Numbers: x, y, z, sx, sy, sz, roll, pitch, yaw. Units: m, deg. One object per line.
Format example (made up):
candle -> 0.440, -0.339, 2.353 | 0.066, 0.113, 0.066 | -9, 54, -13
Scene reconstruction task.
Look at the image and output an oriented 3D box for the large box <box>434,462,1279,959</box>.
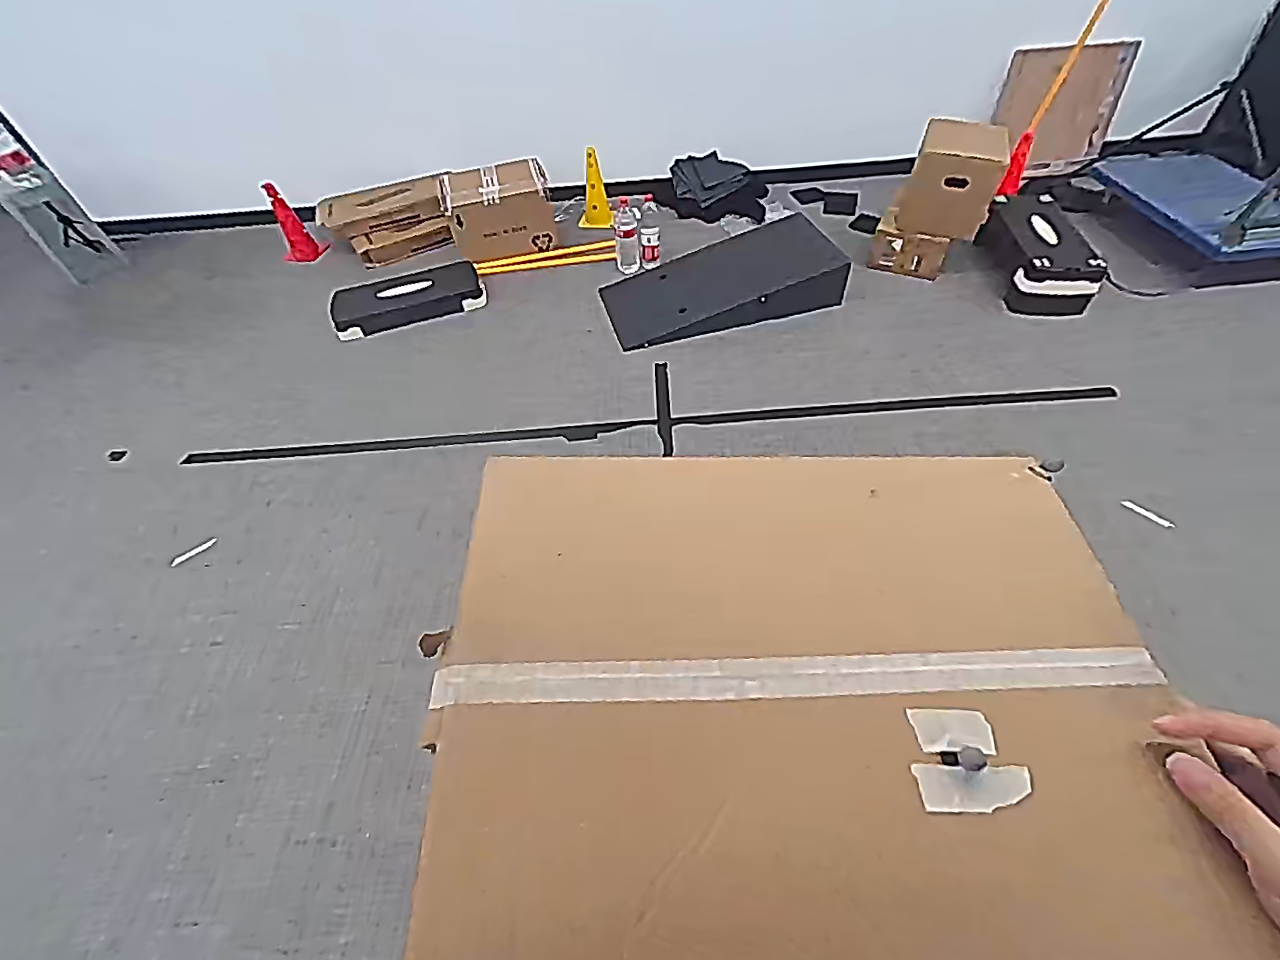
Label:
large box -> 0.091, 0.198, 0.438 | 0.408, 0.320, 0.320 | 0, 55, -4
